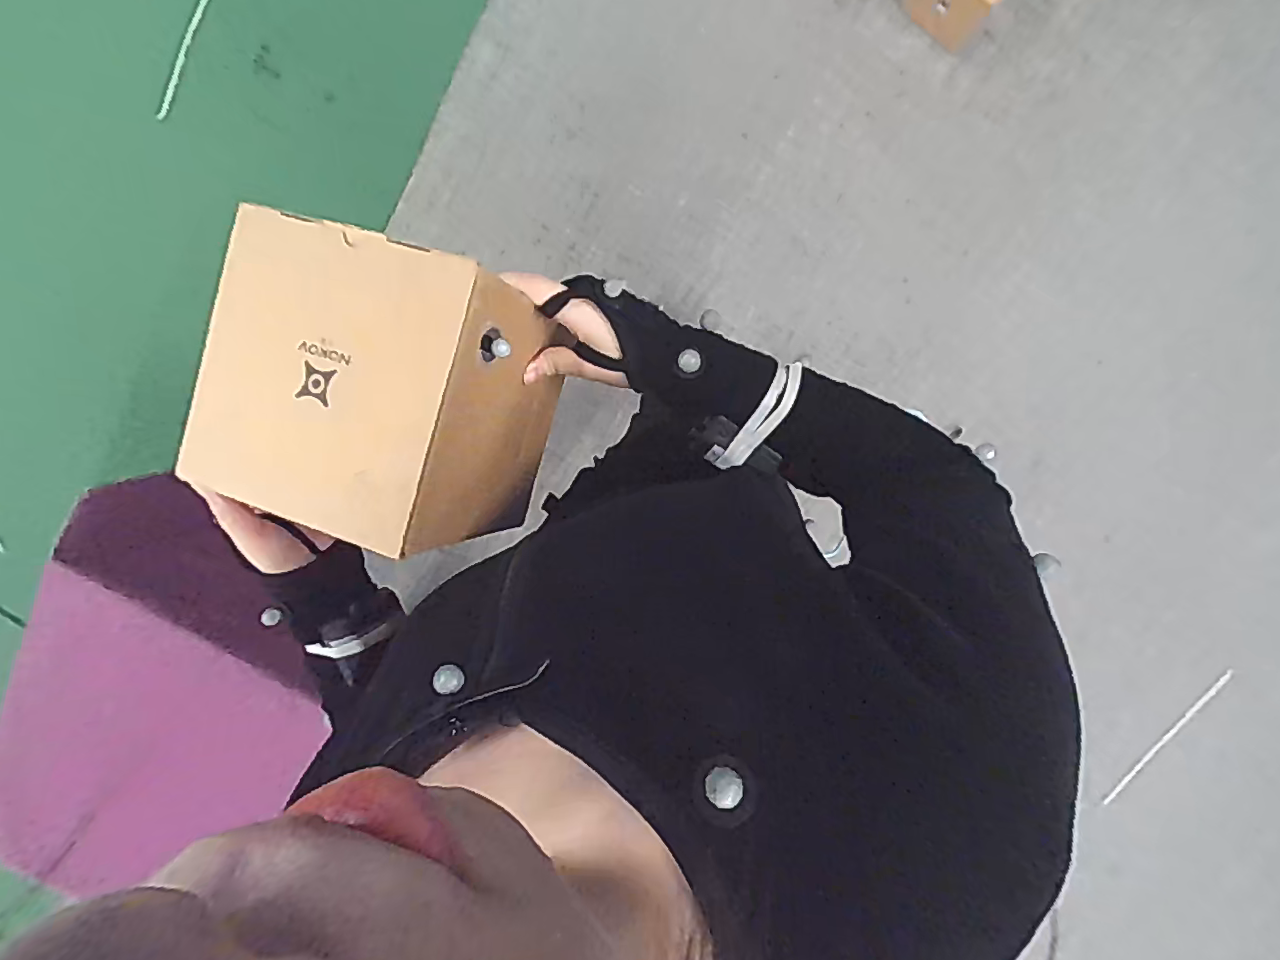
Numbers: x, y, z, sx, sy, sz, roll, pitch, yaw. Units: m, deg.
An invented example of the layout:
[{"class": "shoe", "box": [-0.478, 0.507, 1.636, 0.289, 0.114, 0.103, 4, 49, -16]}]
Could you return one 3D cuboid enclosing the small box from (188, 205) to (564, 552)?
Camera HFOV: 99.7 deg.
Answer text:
[{"class": "small box", "box": [-0.175, -0.065, 0.406, 0.168, 0.176, 0.179, 19, 94, 11]}]
